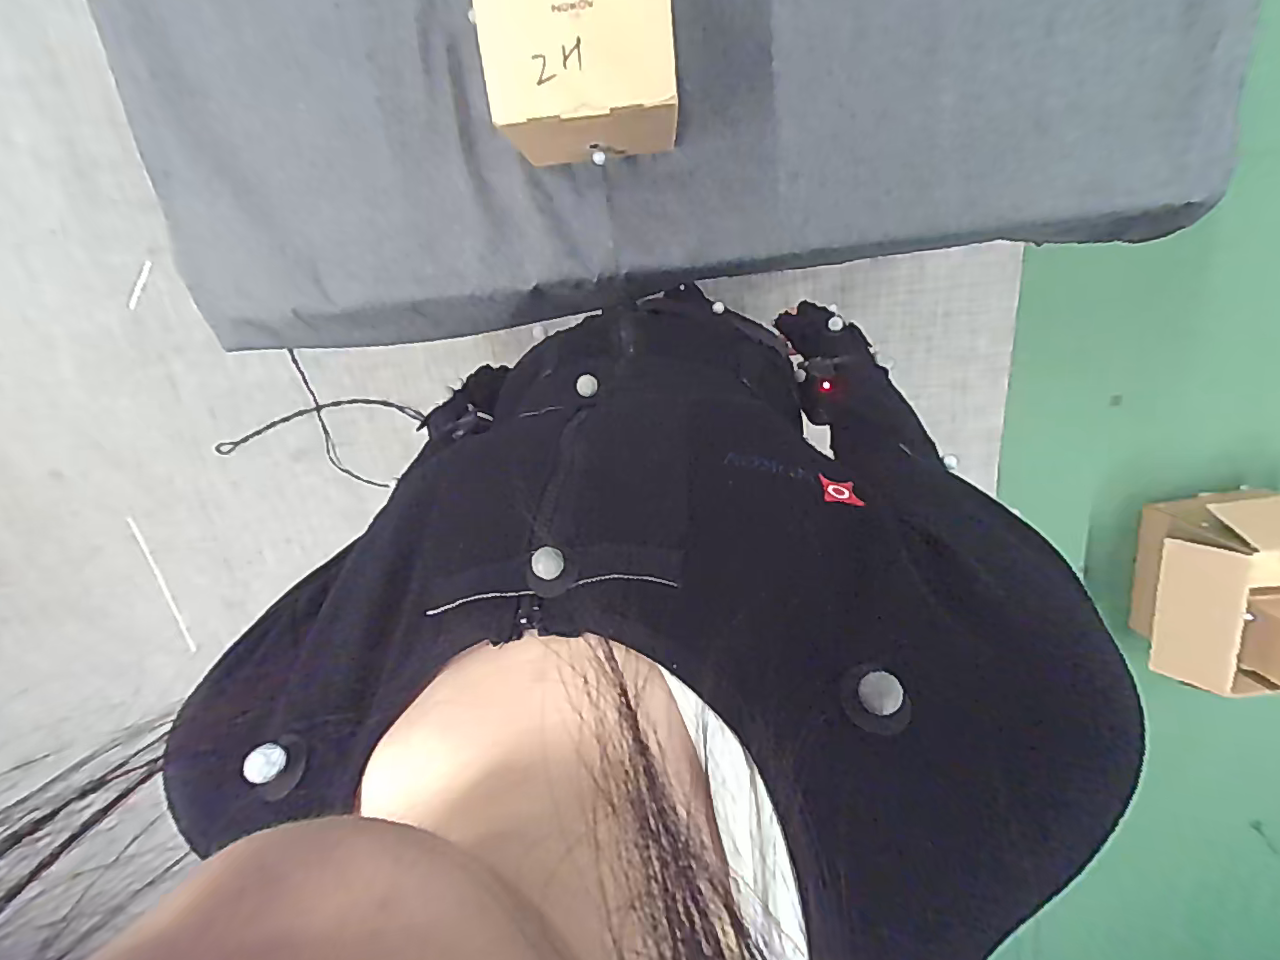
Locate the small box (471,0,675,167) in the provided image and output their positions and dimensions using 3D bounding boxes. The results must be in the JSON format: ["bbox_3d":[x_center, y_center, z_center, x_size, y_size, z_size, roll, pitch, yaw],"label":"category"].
[{"bbox_3d":[-0.056,-0.425,0.521,0.168,0.176,0.179,-5,110,4],"label":"small box"}]
